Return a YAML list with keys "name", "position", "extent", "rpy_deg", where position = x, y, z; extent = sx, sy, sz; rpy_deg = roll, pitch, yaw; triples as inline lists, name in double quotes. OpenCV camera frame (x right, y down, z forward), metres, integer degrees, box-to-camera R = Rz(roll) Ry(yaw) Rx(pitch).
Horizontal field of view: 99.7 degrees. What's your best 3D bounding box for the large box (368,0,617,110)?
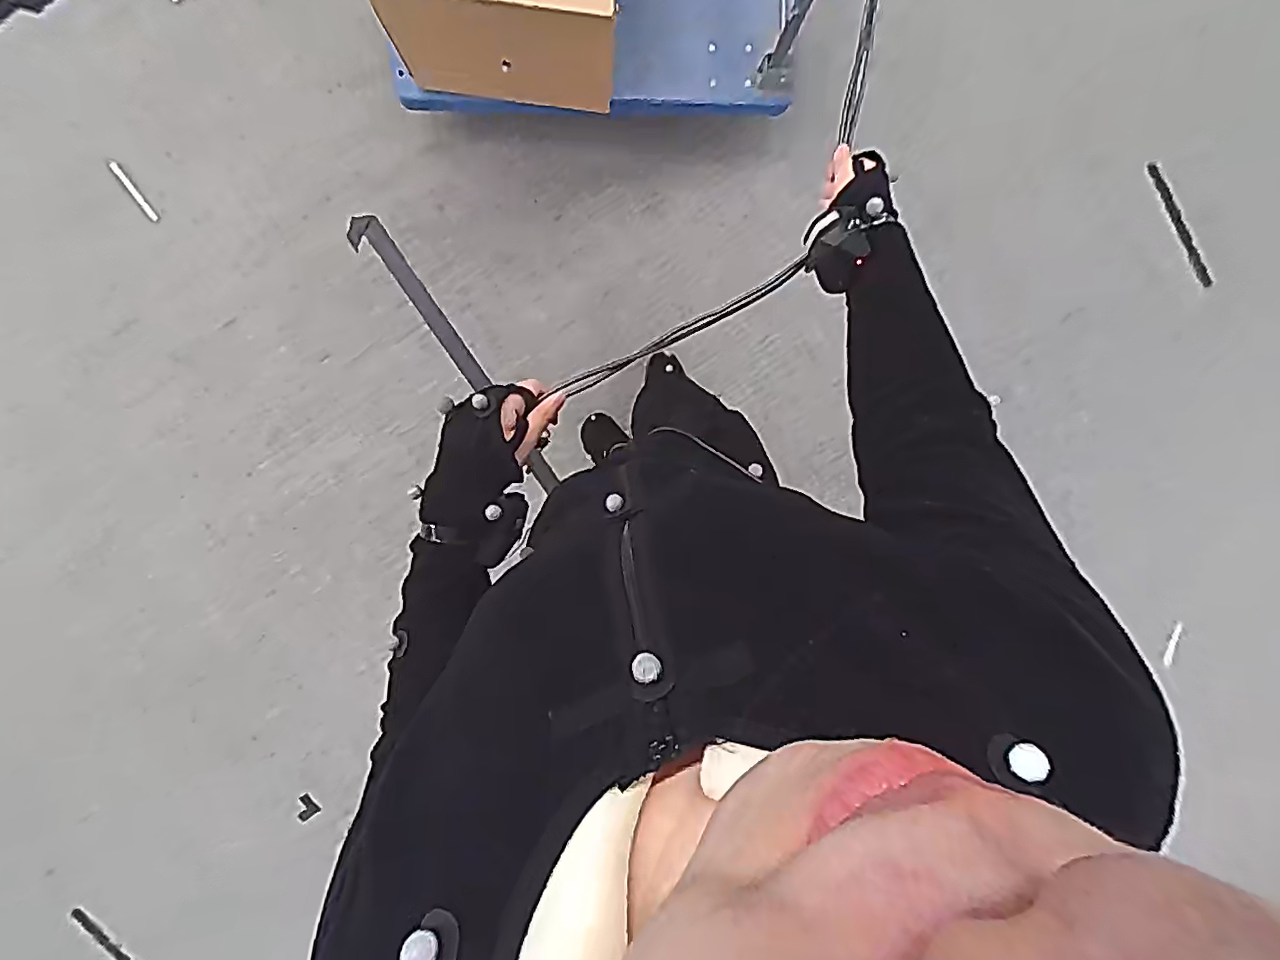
- name: "large box"
  position: [-0.242, -0.931, 0.986]
  extent: [0.408, 0.320, 0.320]
  rpy_deg: [3, 98, -5]
